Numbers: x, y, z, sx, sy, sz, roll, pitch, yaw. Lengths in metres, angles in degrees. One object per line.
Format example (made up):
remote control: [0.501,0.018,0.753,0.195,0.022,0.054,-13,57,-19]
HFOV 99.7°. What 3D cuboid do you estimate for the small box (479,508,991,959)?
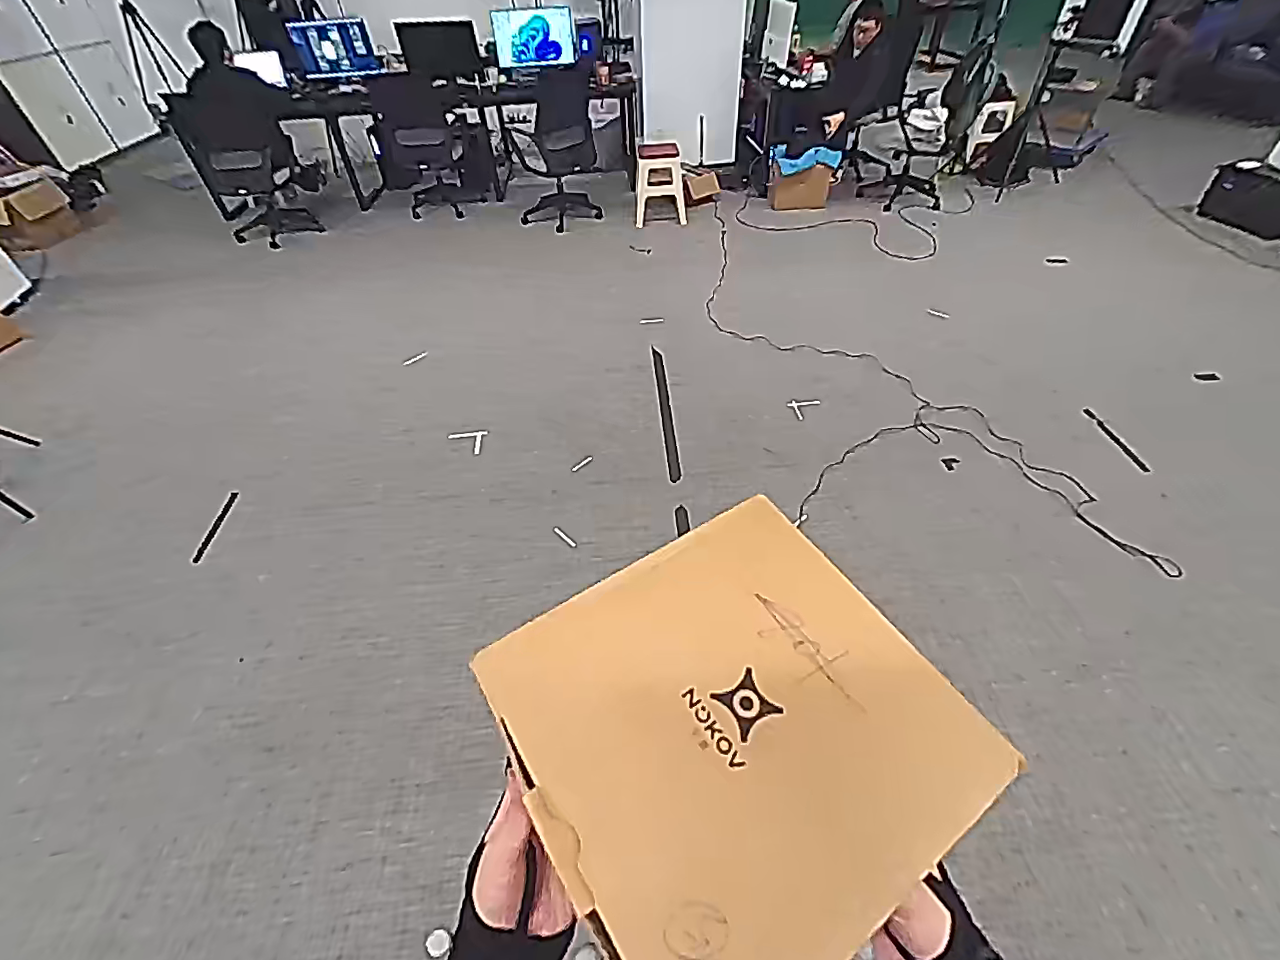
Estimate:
small box: [0.035,0.154,0.304,0.179,0.176,0.168,-26,59,-24]
